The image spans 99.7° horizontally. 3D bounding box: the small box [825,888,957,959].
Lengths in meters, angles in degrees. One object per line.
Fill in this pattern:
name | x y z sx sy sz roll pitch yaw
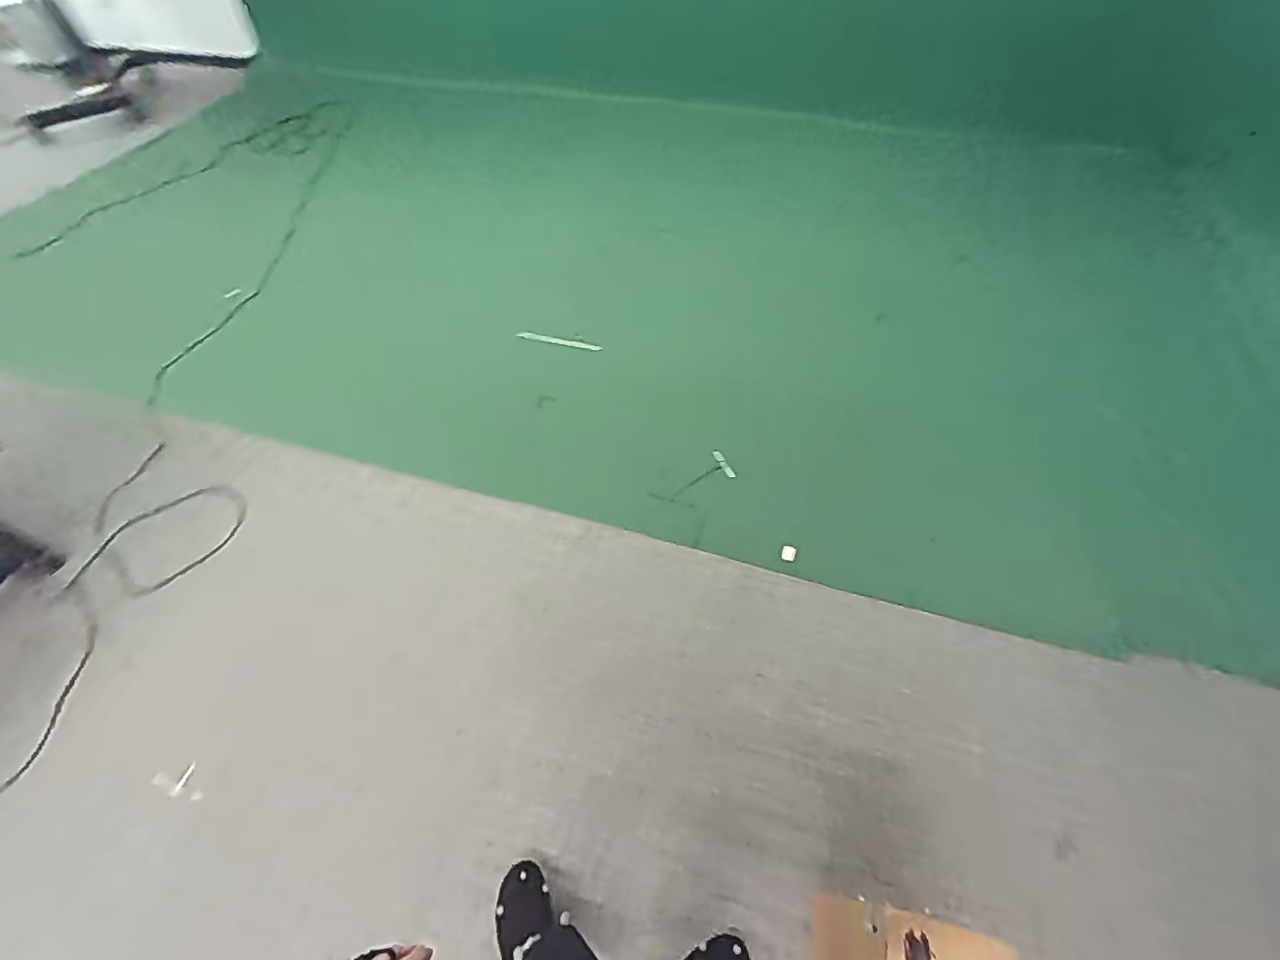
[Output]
small box | 0.418 0.821 0.915 0.168 0.176 0.179 11 54 10
